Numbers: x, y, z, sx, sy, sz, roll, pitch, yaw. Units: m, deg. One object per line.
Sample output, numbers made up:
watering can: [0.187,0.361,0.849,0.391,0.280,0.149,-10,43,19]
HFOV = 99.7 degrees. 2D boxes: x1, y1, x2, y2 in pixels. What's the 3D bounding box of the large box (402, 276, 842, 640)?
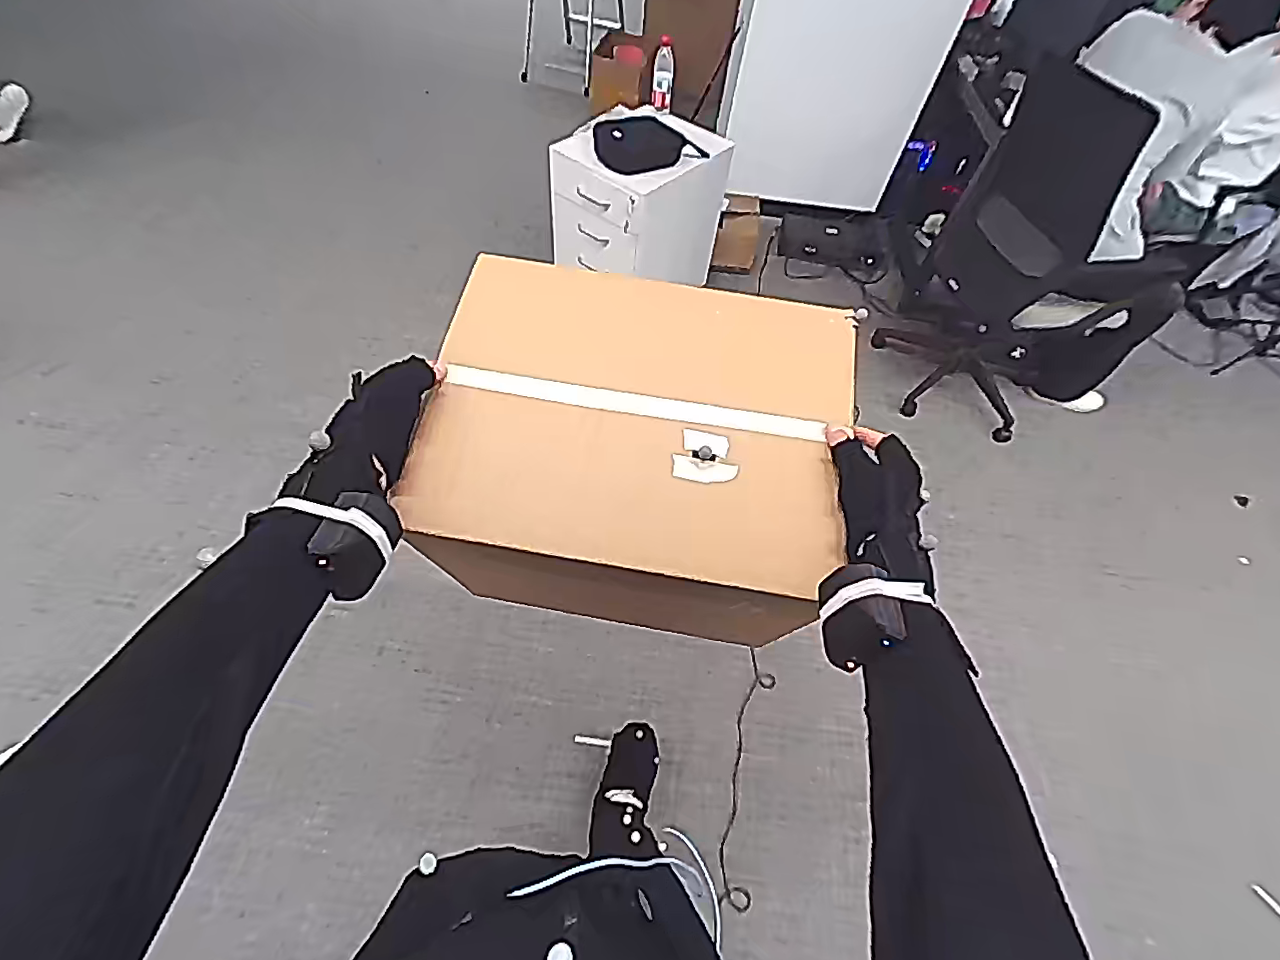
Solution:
large box: [-0.005,-0.003,0.674,0.408,0.320,0.320,9,67,1]
